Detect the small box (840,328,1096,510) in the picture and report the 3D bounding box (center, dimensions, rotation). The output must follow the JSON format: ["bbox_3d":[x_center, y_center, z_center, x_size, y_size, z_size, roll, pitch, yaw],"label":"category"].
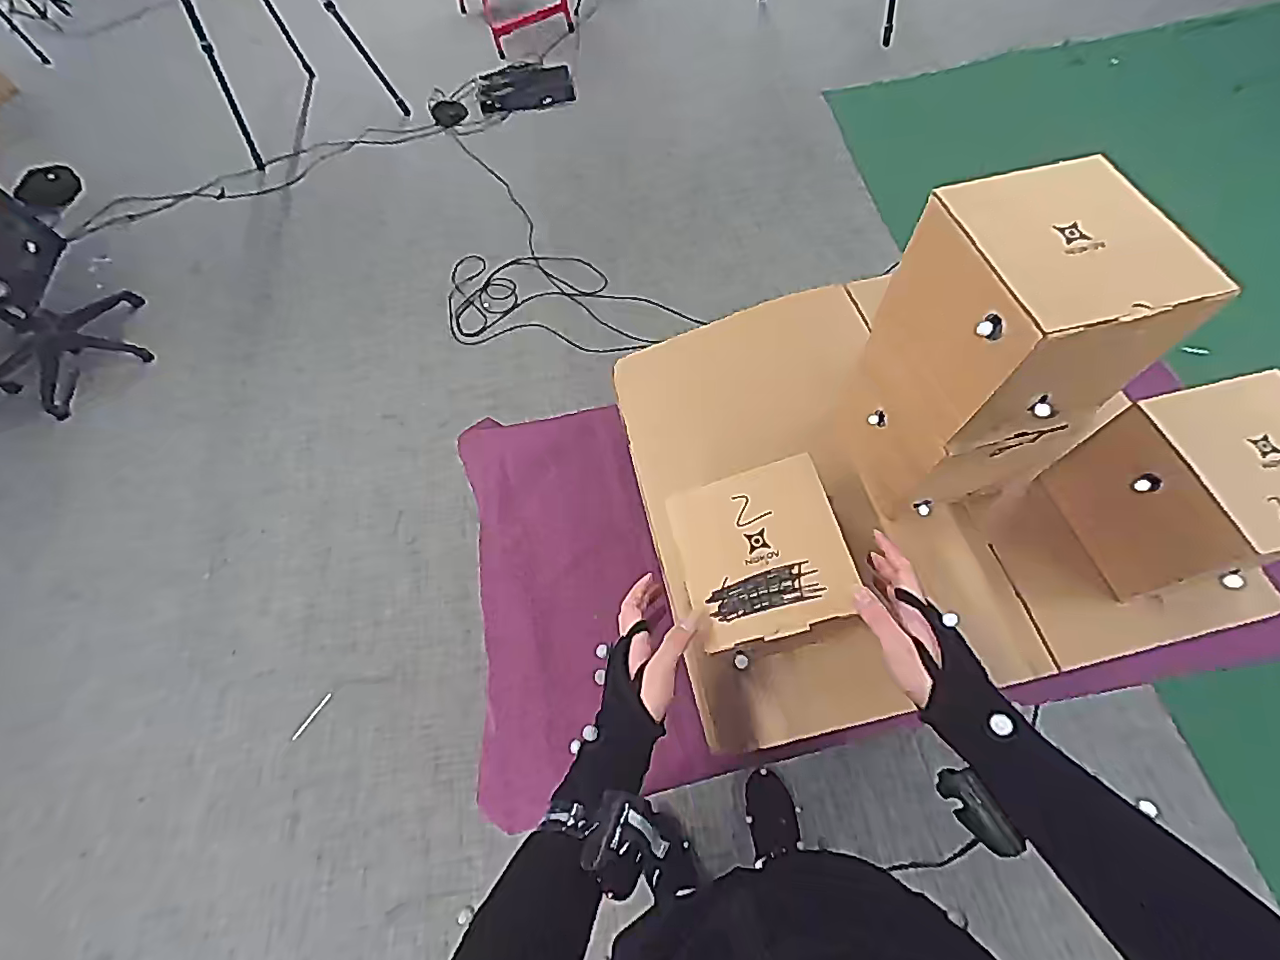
[{"bbox_3d":[0.368,-0.078,0.648,0.168,0.176,0.179,-12,62,-5],"label":"small box"}]

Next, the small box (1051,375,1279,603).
[{"bbox_3d":[0.610,0.016,0.590,0.168,0.176,0.179,-12,63,-3],"label":"small box"}]

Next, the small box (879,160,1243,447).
[{"bbox_3d":[0.358,-0.157,0.508,0.168,0.176,0.179,-13,64,-5],"label":"small box"}]
